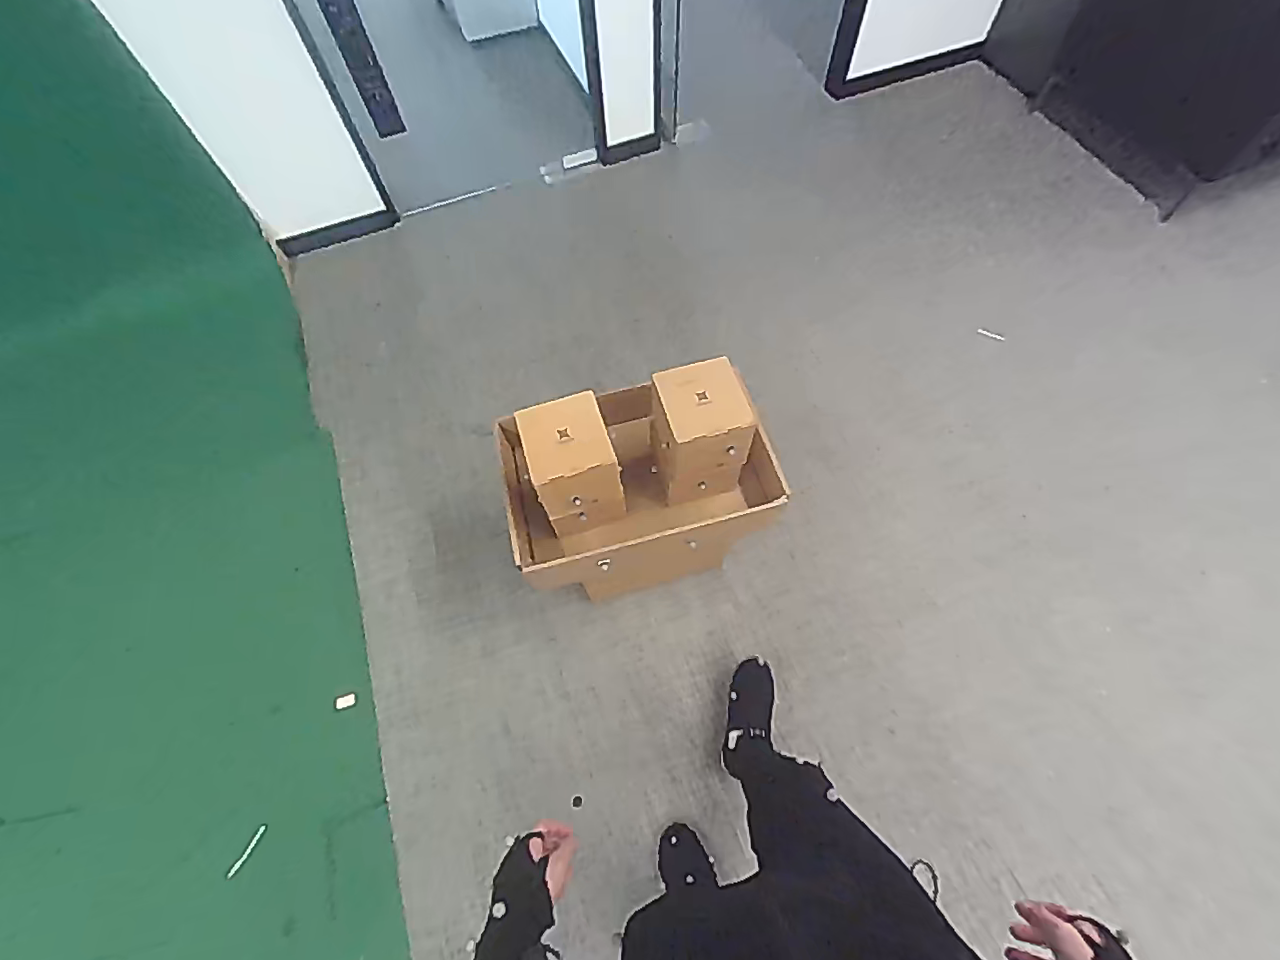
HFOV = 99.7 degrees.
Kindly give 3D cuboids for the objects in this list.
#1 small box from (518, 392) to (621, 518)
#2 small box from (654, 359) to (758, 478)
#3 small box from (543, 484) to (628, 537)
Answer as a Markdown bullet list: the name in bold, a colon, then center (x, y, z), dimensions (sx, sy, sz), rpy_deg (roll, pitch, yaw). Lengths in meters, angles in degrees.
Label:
- **small box**: center (-0.141, -0.047, 1.111), dimensions (0.168, 0.176, 0.179), rpy_deg (-16, 64, -7)
- **small box**: center (0.132, -0.120, 1.137), dimensions (0.168, 0.176, 0.179), rpy_deg (-14, 62, -6)
- **small box**: center (-0.136, 0.016, 1.260), dimensions (0.179, 0.176, 0.168), rpy_deg (-16, 64, -6)
